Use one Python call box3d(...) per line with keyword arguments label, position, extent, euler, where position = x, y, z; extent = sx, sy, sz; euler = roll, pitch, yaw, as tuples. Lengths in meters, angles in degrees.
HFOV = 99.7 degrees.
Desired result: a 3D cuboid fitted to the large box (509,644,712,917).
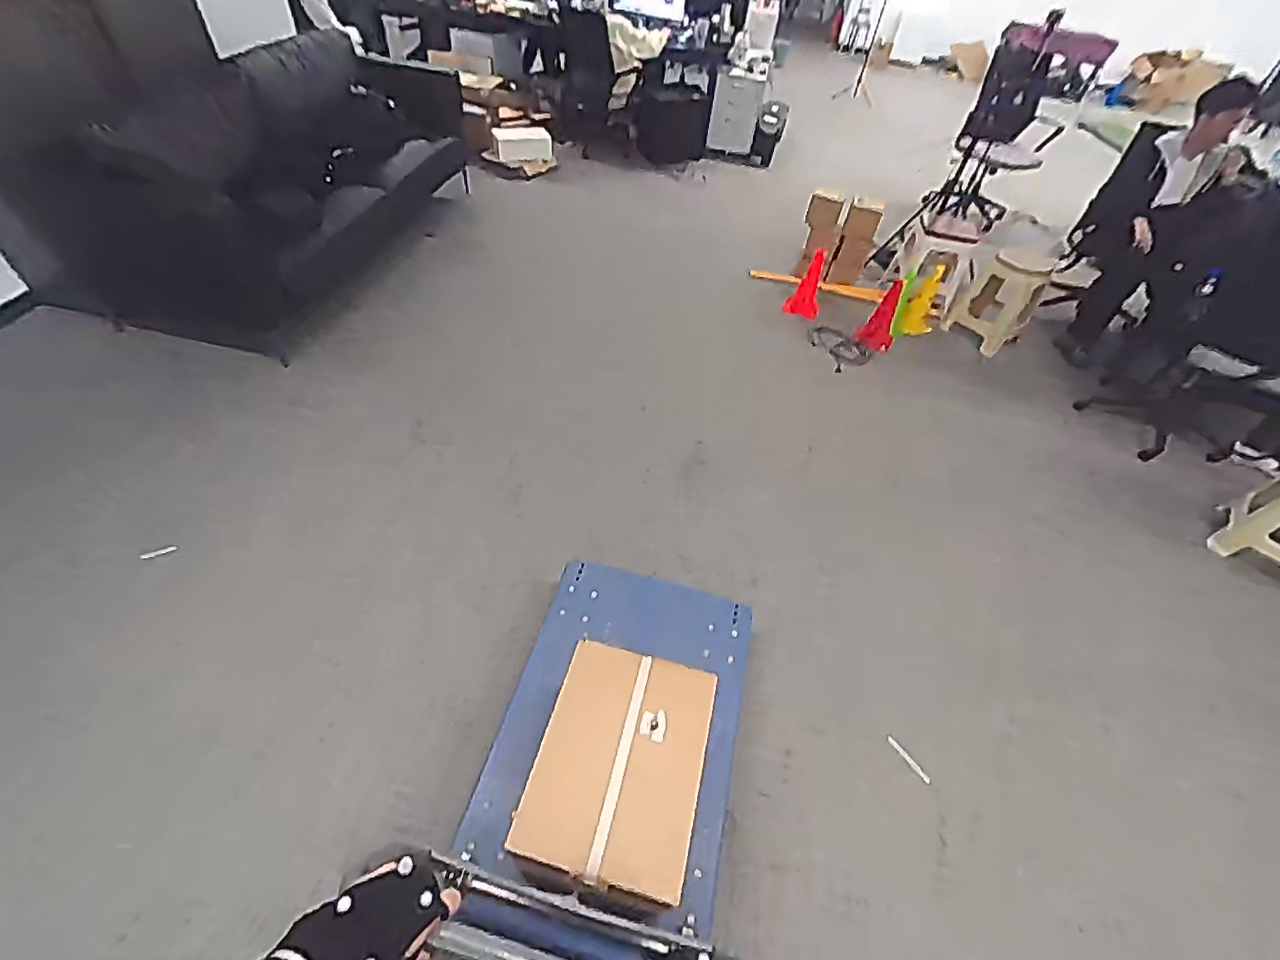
box3d(label="large box", position=(-0.048, 0.634, 1.153), extent=(0.320, 0.320, 0.408), euler=(14, 48, 6))
